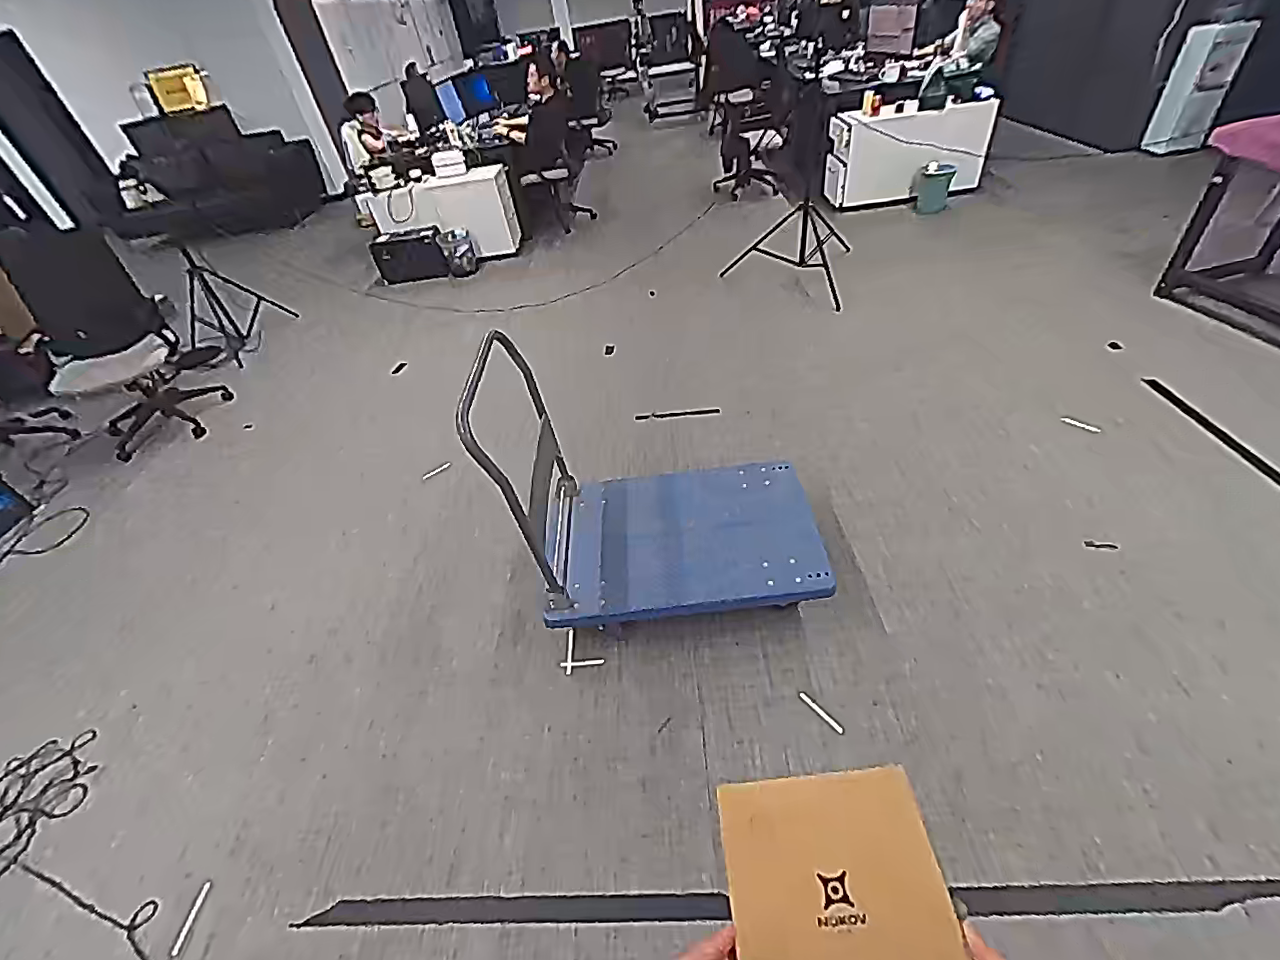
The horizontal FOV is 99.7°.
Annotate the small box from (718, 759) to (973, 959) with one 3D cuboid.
[{"bbox_3d":[0.164,0.369,0.470,0.168,0.176,0.179,-9,45,6],"label":"small box"}]
